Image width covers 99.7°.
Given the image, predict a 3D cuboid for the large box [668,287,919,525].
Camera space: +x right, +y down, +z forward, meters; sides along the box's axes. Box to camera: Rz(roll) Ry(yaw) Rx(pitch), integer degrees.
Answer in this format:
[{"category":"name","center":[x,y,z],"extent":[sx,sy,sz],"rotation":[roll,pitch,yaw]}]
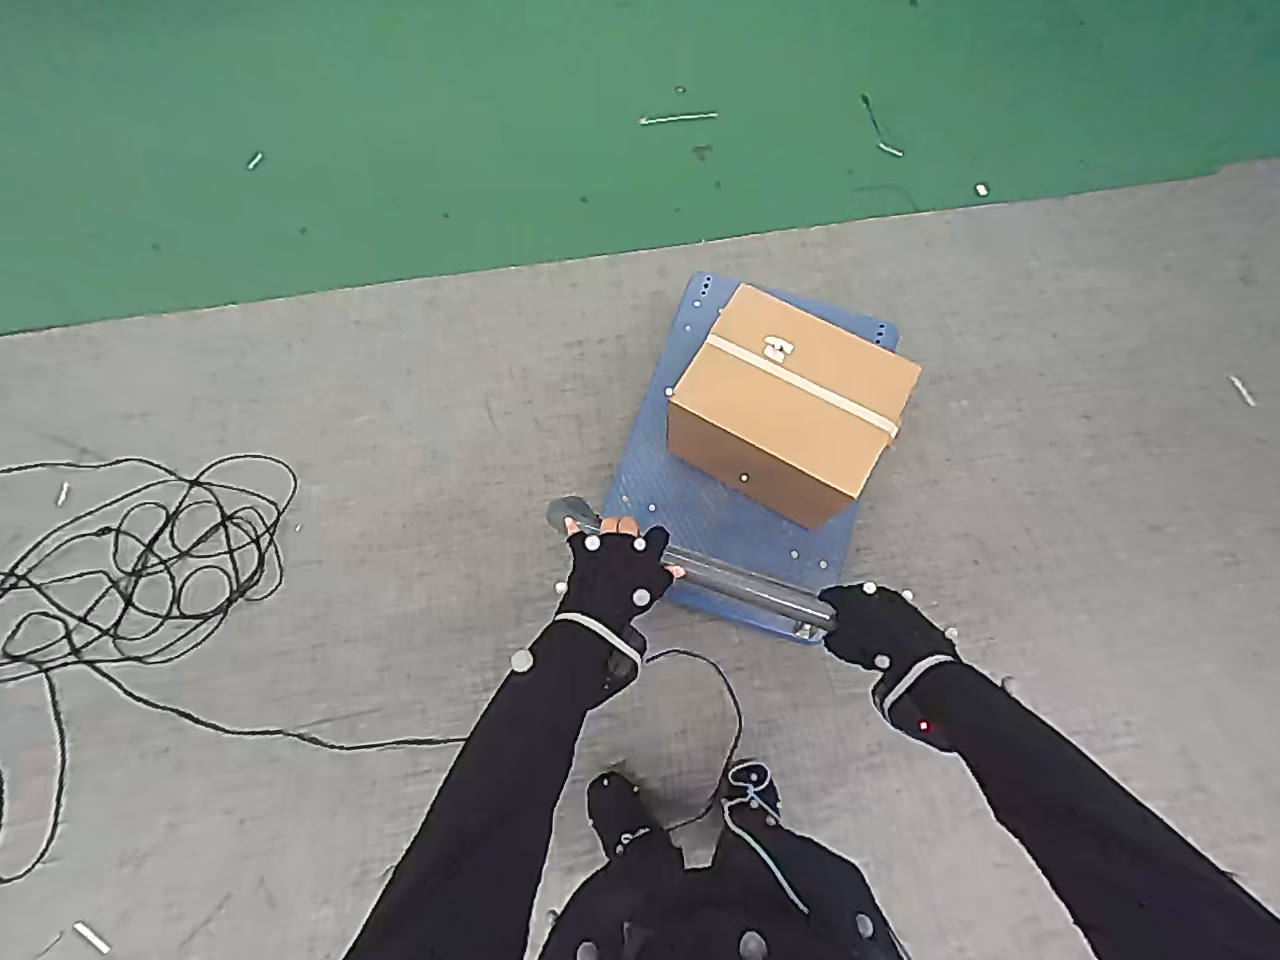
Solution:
[{"category":"large box","center":[0.311,-0.146,1.204],"extent":[0.408,0.320,0.320],"rotation":[30,77,11]}]
